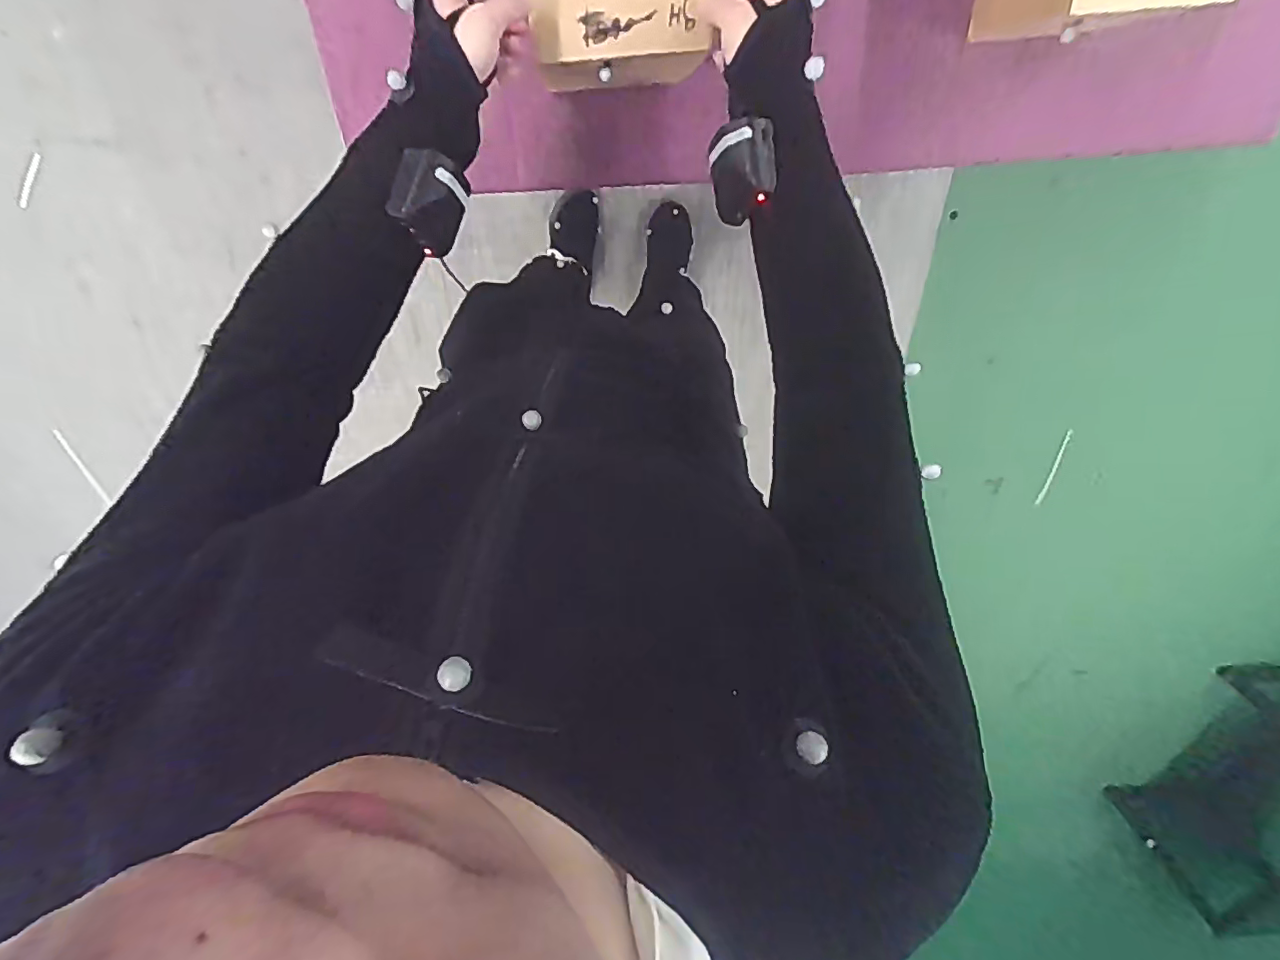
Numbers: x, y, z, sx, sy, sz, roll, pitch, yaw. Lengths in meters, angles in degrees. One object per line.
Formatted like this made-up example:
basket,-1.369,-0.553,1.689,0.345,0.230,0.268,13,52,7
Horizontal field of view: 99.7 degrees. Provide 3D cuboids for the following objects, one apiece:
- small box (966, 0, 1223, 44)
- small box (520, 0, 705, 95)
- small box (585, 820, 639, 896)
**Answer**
small box,0.463,-0.558,0.540,0.168,0.176,0.179,-6,122,-1
small box,-0.033,-0.496,0.523,0.168,0.176,0.179,-6,119,-2
small box,-0.102,1.297,1.865,0.168,0.176,0.179,2,123,-7
